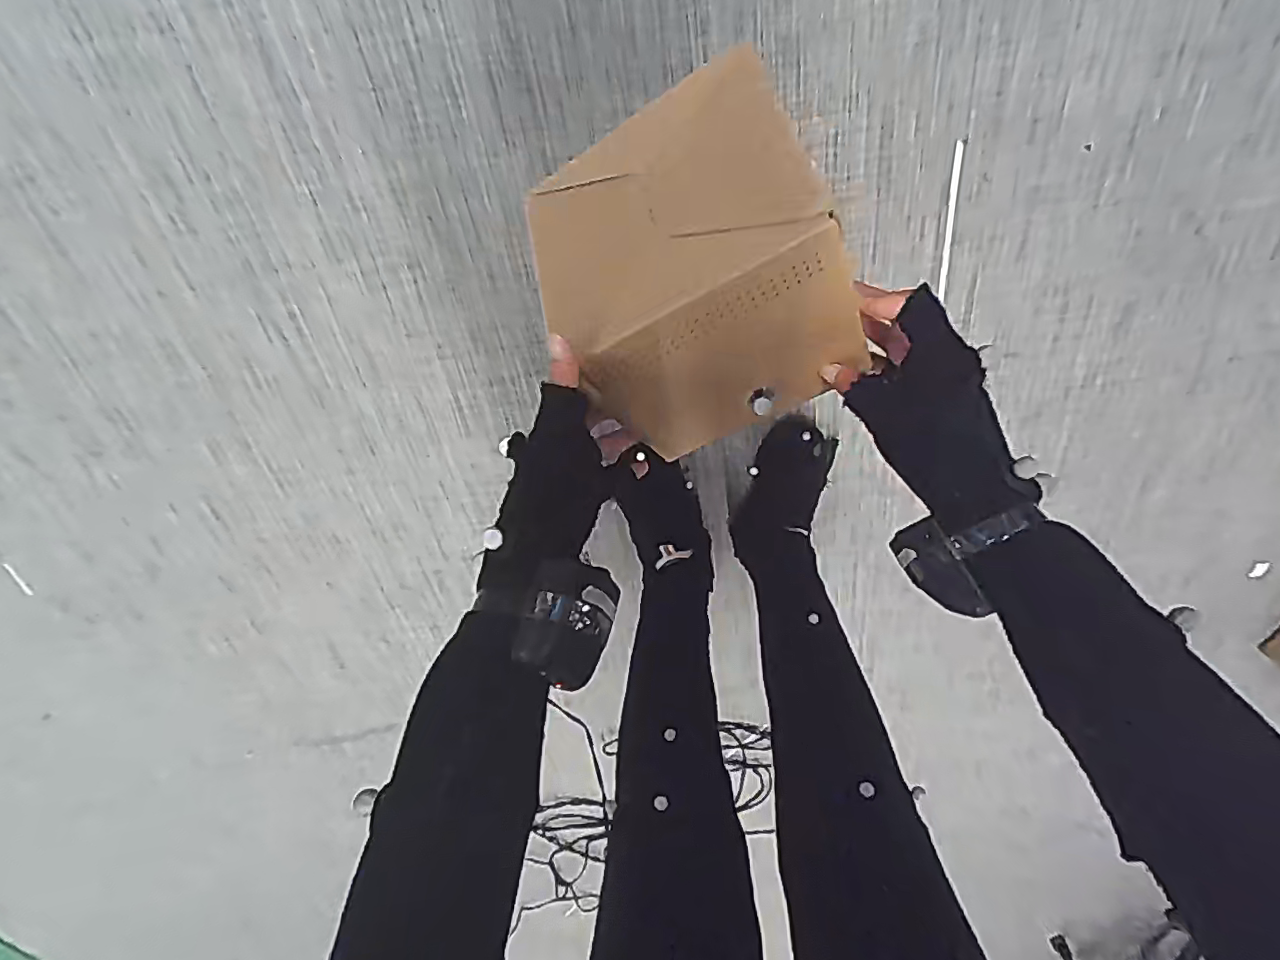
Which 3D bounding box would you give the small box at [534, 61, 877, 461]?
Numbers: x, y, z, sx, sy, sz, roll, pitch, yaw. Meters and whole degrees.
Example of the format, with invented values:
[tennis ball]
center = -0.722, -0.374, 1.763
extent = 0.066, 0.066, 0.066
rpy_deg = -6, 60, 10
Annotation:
[small box]
center = 0.044, -0.140, 0.393
extent = 0.179, 0.168, 0.176
rpy_deg = -23, 152, 24
